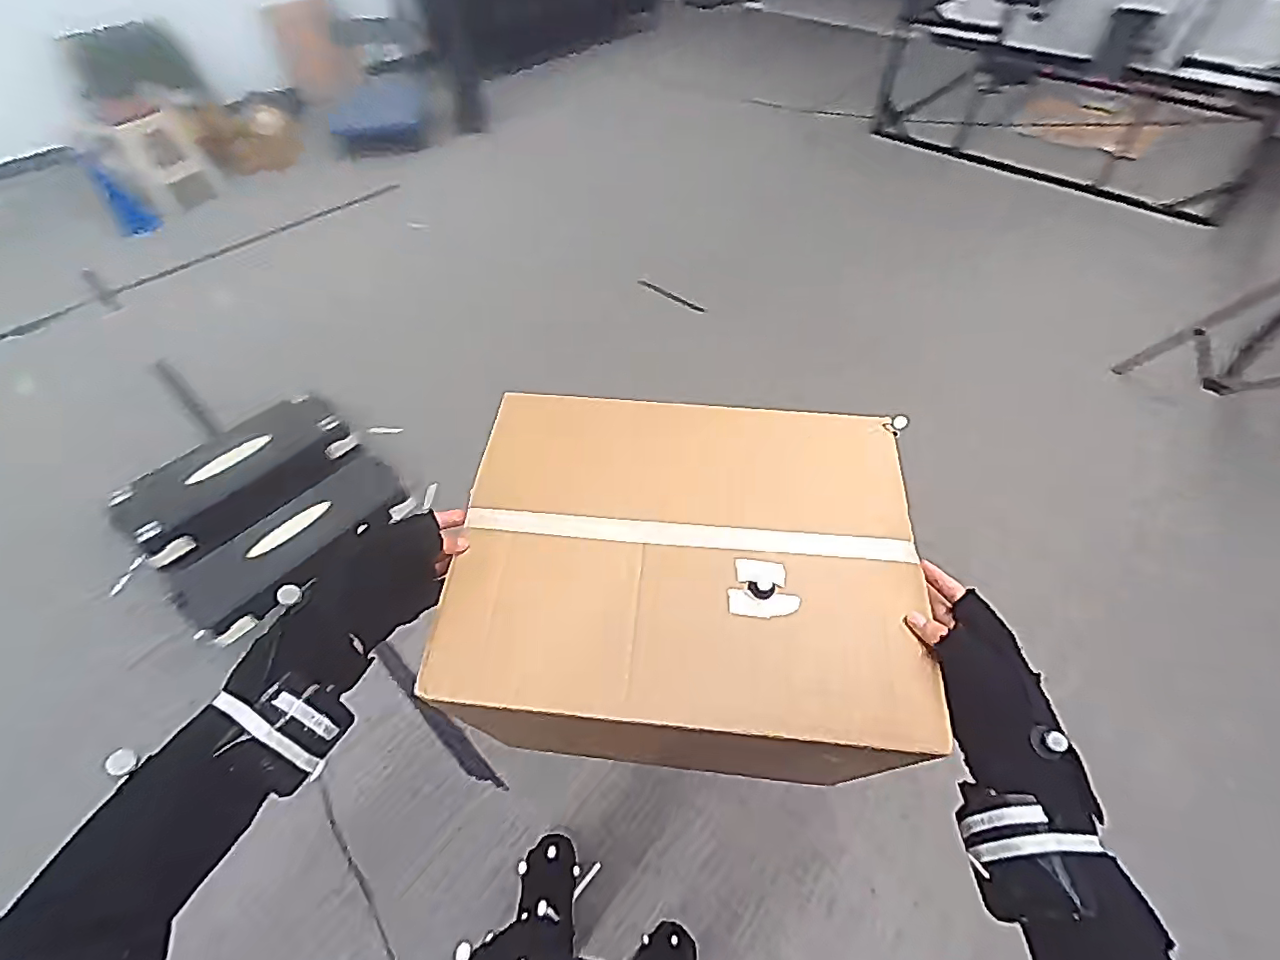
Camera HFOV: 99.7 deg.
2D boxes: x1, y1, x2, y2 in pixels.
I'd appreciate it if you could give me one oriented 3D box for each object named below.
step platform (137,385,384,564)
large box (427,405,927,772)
[{"bbox_3d":[-1.245,-0.041,1.815,0.286,0.204,0.684,34,58,24],"label":"step platform"},{"bbox_3d":[0.035,0.137,0.628,0.408,0.320,0.320,4,58,3],"label":"large box"}]
